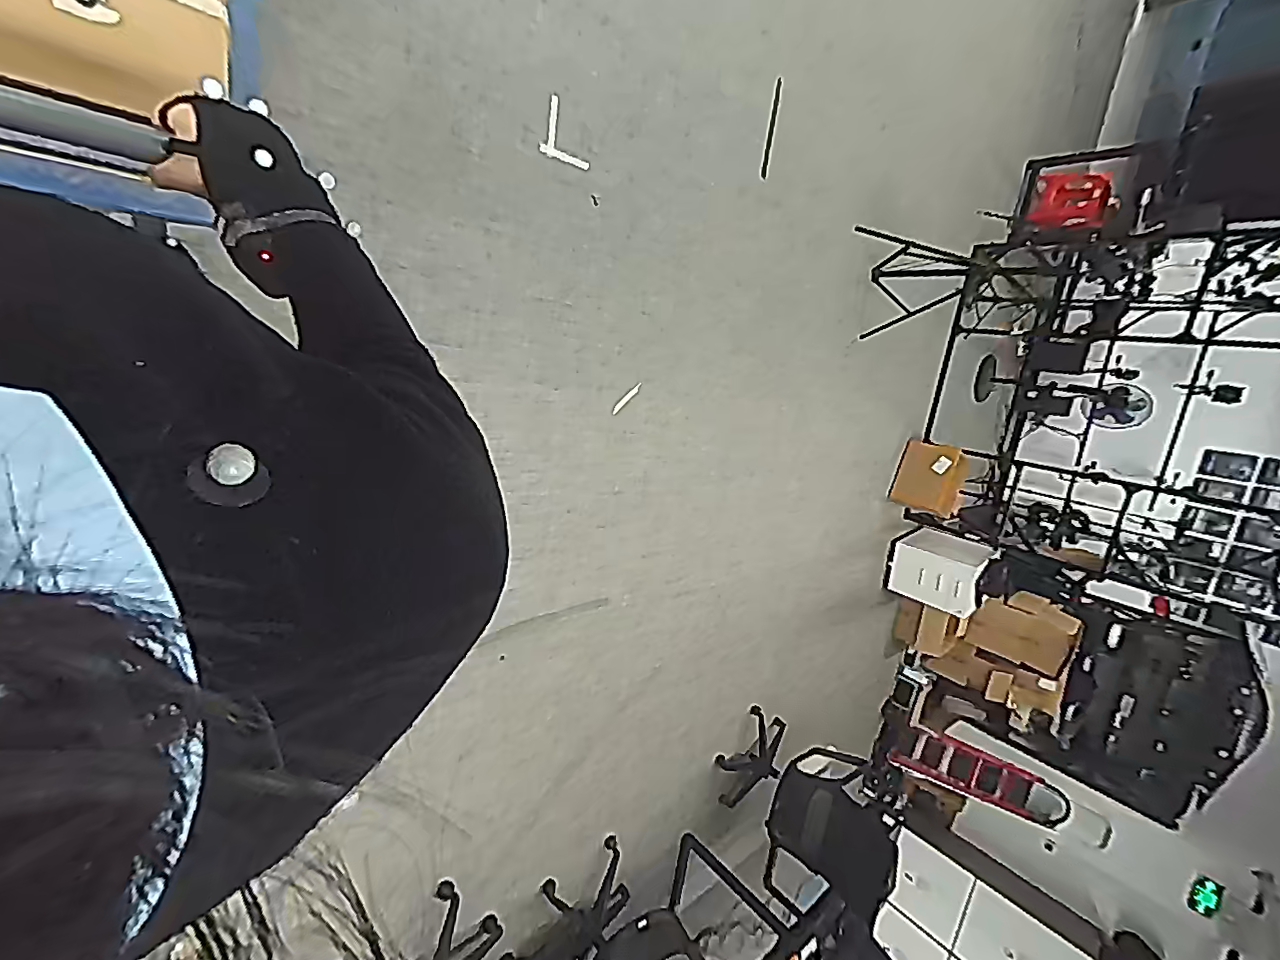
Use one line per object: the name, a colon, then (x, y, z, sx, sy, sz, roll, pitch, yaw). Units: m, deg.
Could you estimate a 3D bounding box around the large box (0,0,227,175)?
large box: (-0.810, -0.634, 0.692, 0.408, 0.320, 0.320, -6, 109, -43)
